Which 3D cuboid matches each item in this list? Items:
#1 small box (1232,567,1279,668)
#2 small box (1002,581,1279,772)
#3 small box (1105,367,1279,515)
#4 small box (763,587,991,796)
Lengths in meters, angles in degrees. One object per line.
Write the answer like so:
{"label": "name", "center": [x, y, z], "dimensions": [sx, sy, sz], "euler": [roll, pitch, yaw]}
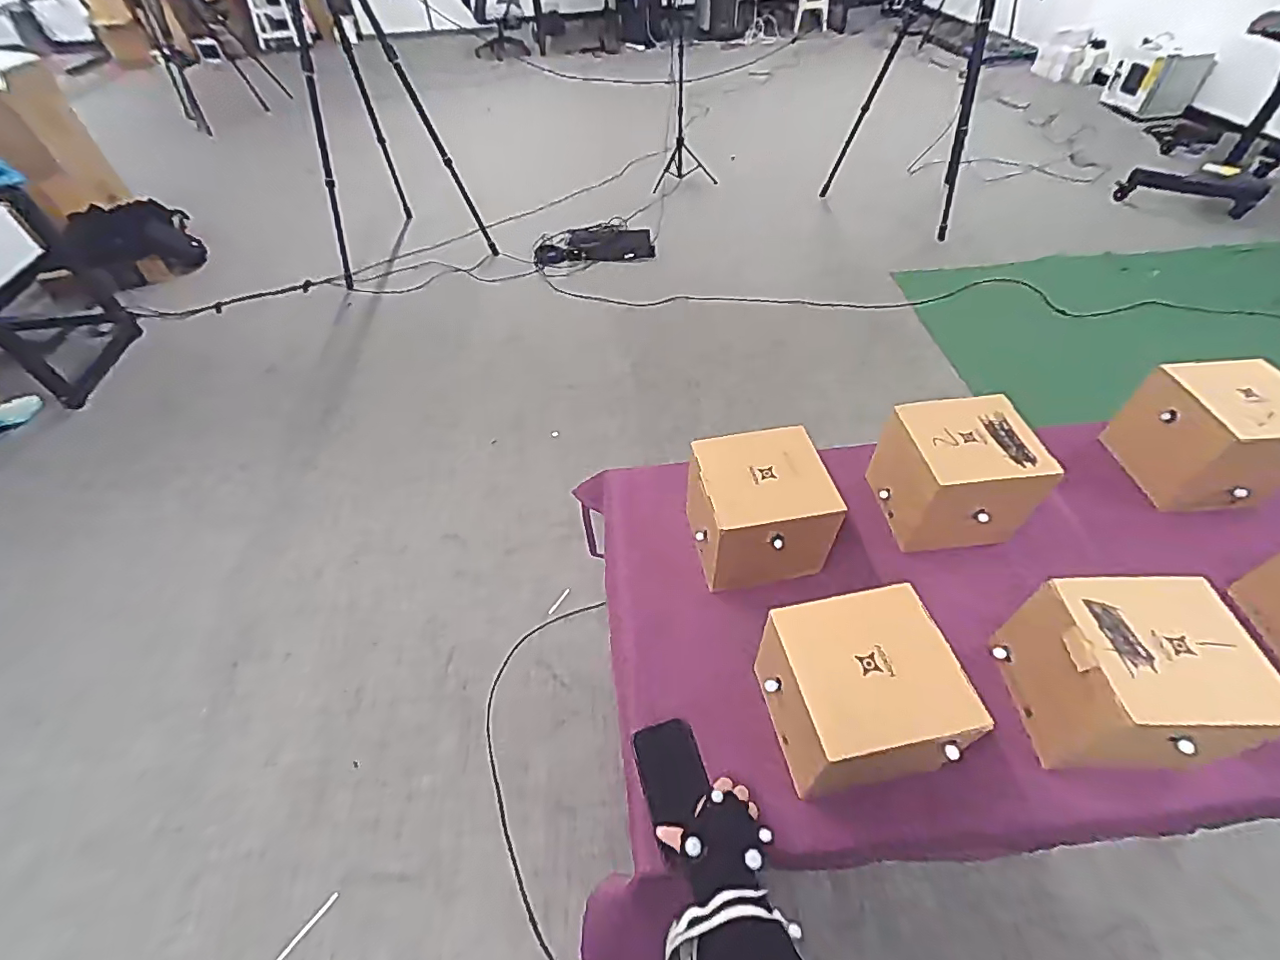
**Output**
{"label": "small box", "center": [0.932, 0.175, 0.670], "dimensions": [0.179, 0.176, 0.168], "euler": [0, 49, 3]}
{"label": "small box", "center": [0.567, 0.234, 0.637], "dimensions": [0.179, 0.176, 0.168], "euler": [0, 49, 2]}
{"label": "small box", "center": [0.921, -0.062, 0.875], "dimensions": [0.168, 0.176, 0.179], "euler": [-3, 50, 1]}
{"label": "small box", "center": [0.254, 0.252, 0.638], "dimensions": [0.179, 0.176, 0.168], "euler": [-9, 49, -6]}
